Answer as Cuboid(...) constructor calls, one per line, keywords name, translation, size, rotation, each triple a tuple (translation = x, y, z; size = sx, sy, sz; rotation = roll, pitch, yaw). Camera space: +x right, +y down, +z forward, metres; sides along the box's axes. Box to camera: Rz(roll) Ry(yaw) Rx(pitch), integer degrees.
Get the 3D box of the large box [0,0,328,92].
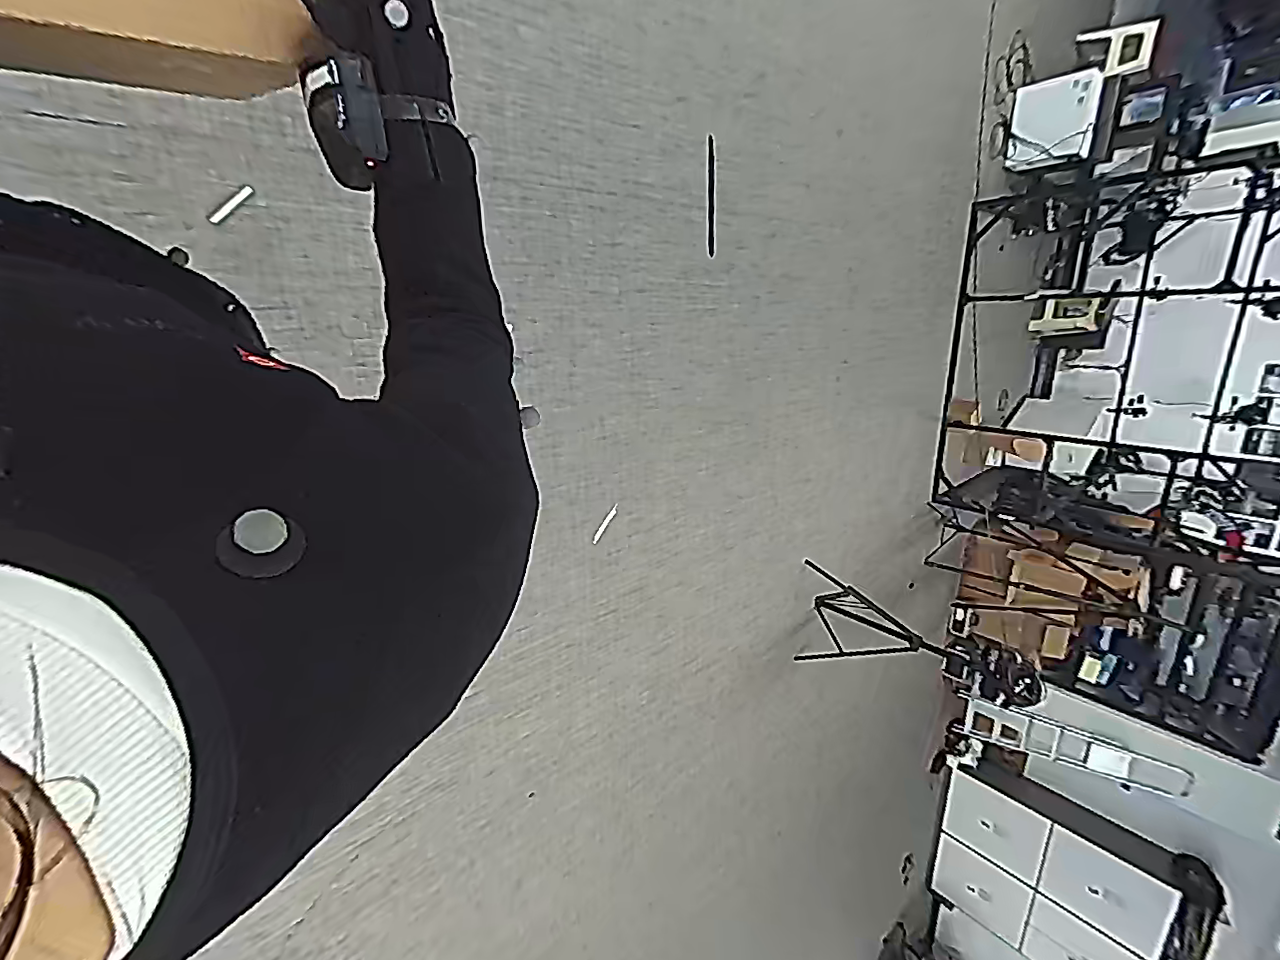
Cuboid(name="large box", translation=(-0.444, -0.411, 0.262), size=(0.408, 0.320, 0.320), rotation=(-20, 128, -38))
